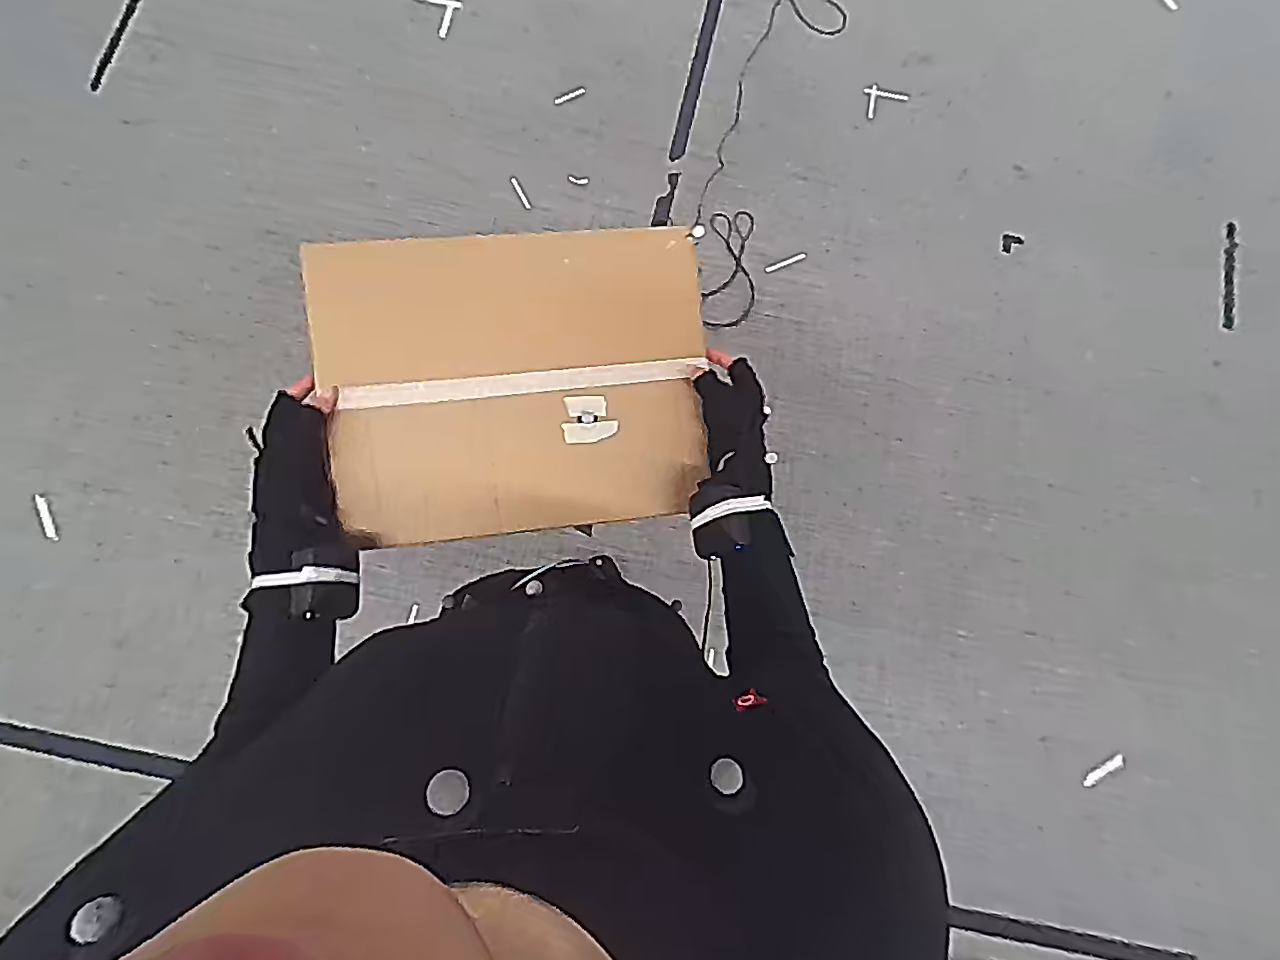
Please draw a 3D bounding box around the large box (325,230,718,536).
[{"bbox_3d":[-0.139,-0.114,0.735,0.408,0.320,0.320,-5,93,-7],"label":"large box"}]
